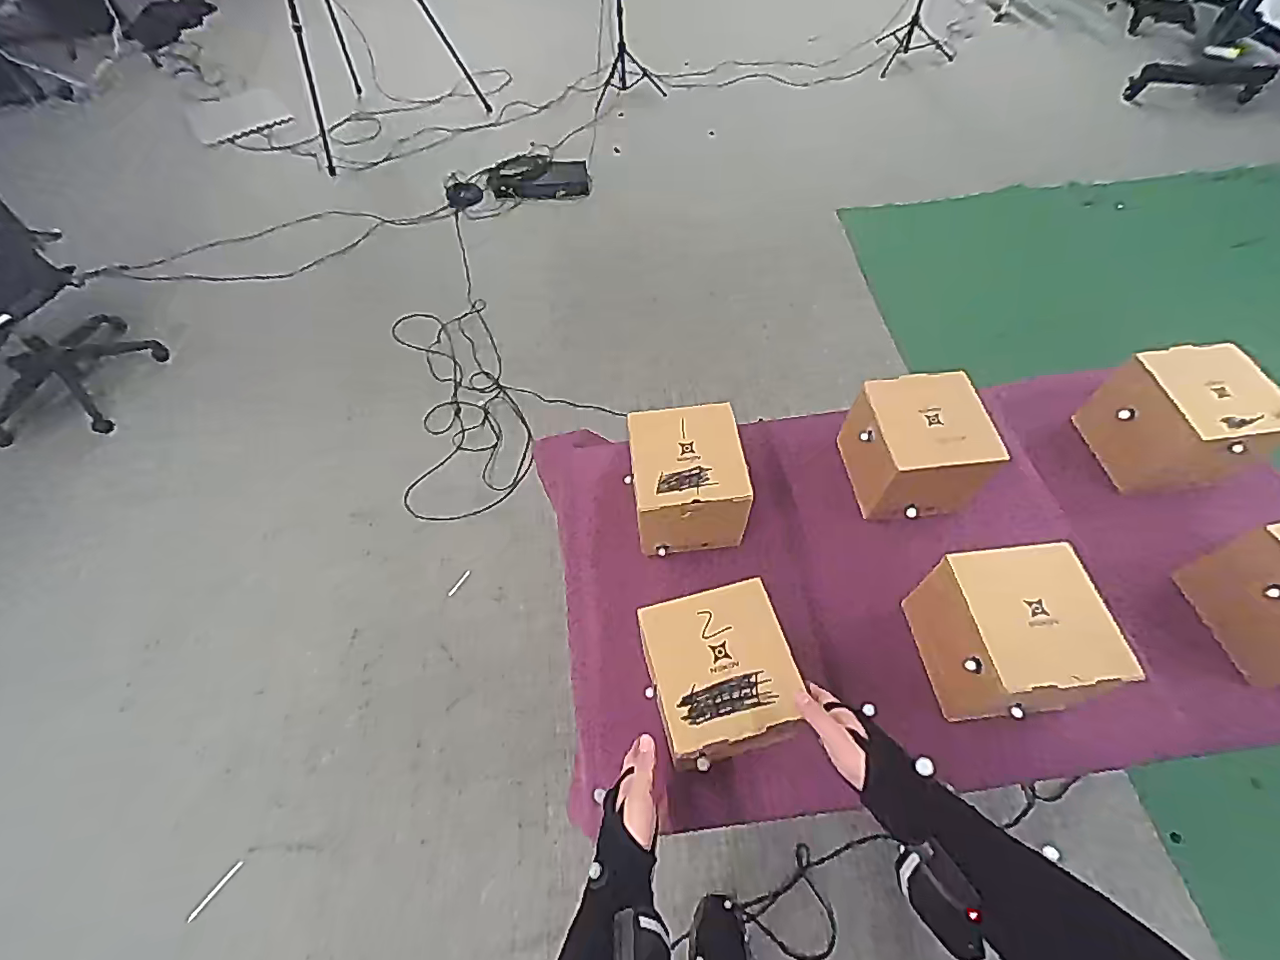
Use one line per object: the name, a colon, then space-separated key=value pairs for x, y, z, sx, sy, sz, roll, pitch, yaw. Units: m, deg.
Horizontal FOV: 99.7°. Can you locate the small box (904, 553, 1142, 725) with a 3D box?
small box: x=0.488 y=0.217 z=0.728 sx=0.168 sy=0.176 sz=0.179 roll=-5 pitch=58 yaw=-2

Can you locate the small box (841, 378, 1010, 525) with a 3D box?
small box: x=0.448 y=-0.044 z=0.886 sx=0.168 sy=0.176 sz=0.179 roll=-4 pitch=60 yaw=0

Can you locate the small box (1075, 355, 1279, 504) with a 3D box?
small box: x=0.883 y=-0.080 z=0.894 sx=0.168 sy=0.176 sz=0.179 roll=-6 pitch=59 yaw=-1

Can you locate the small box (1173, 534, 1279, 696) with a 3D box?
small box: x=0.906 y=0.179 z=0.734 sx=0.168 sy=0.176 sz=0.179 roll=-8 pitch=59 yaw=-2

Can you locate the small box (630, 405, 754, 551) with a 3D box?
small box: x=0.075 y=0.004 z=0.863 sx=0.168 sy=0.176 sz=0.179 roll=-5 pitch=60 yaw=-2
